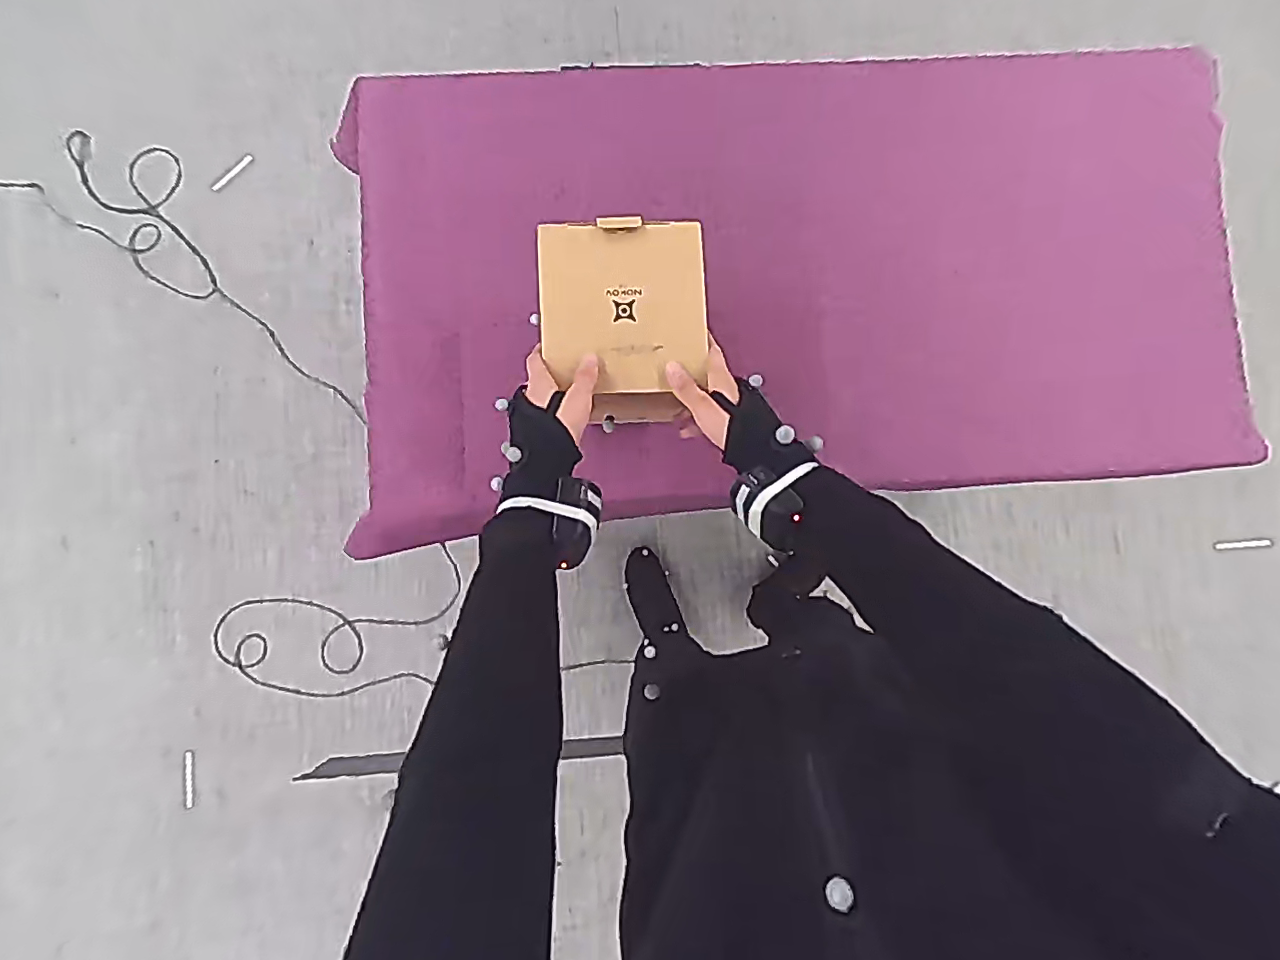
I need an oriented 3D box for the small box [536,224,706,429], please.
[{"bbox_3d":[-0.025,-0.159,0.606,0.168,0.176,0.179,-2,85,-3],"label":"small box"}]
